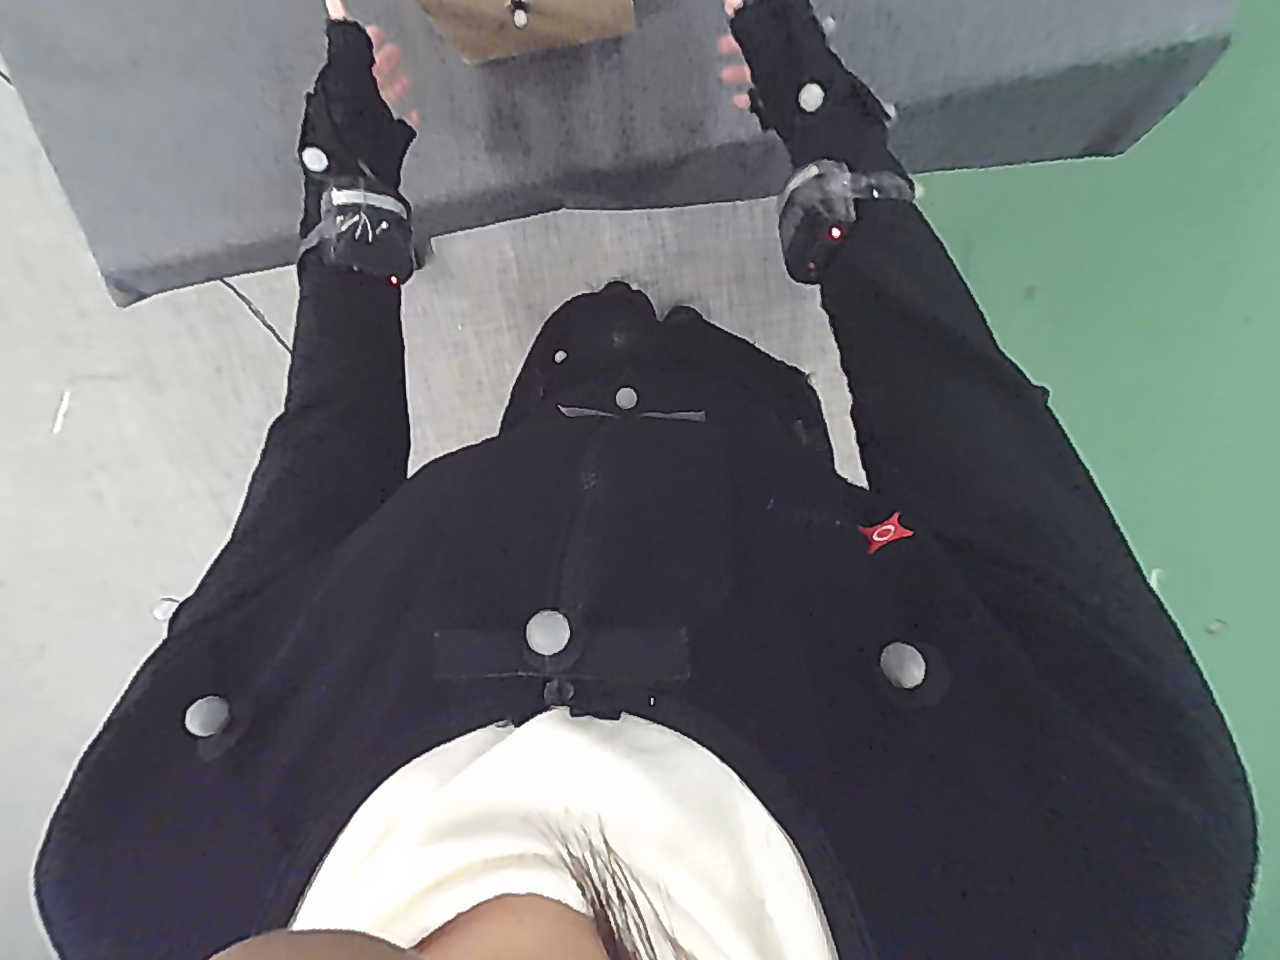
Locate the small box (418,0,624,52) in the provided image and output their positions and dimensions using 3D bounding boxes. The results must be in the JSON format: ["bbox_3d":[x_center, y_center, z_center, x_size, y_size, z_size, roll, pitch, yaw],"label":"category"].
[{"bbox_3d":[-0.106,-0.486,0.436,0.179,0.176,0.168,-6,109,6],"label":"small box"}]
